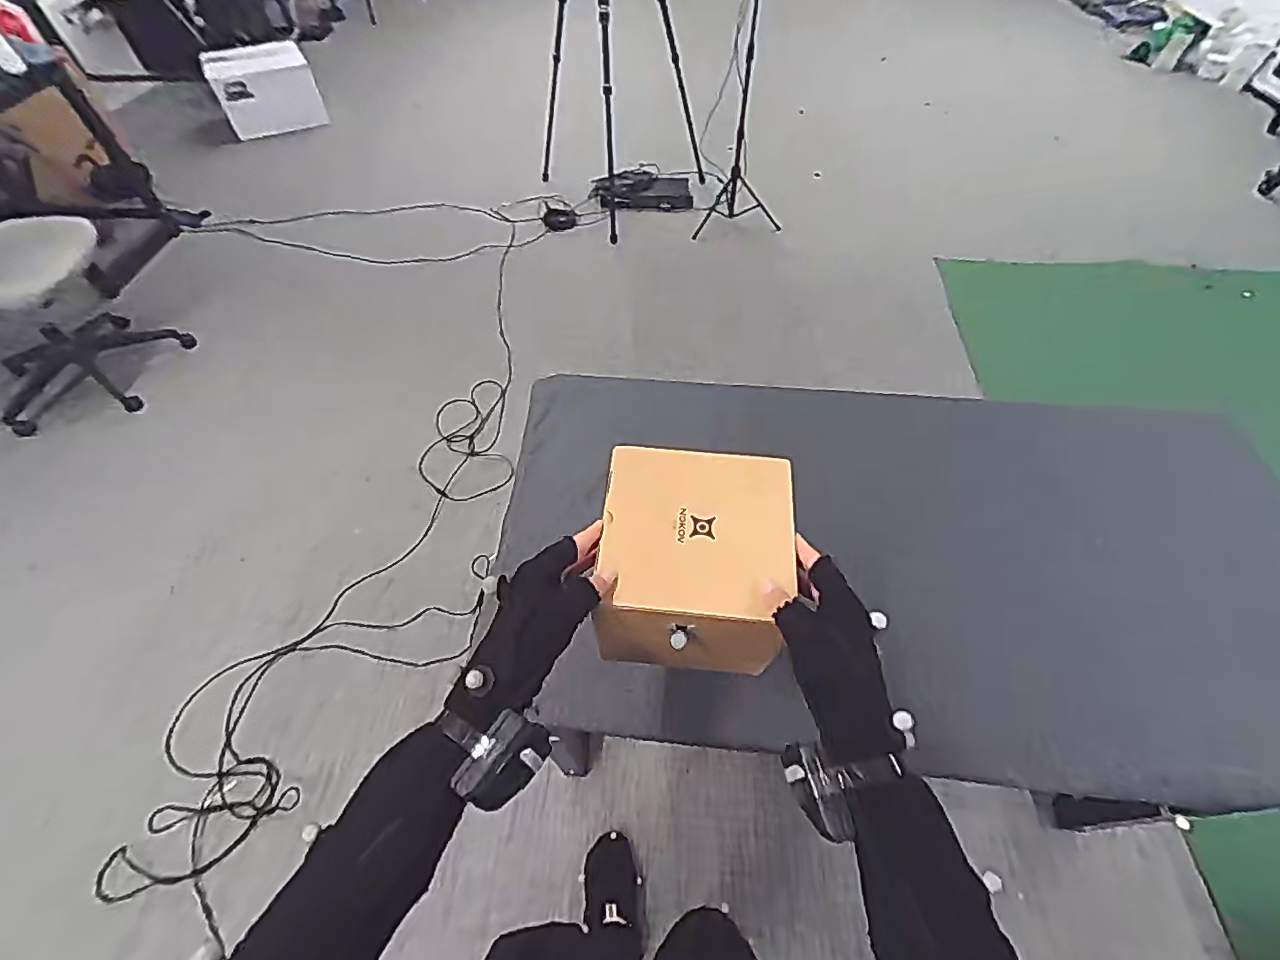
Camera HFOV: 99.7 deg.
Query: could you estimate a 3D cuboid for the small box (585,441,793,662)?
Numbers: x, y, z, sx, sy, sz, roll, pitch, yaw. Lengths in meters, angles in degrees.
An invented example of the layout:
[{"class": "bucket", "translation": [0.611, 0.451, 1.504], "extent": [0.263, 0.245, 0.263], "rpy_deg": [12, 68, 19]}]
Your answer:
[{"class": "small box", "translation": [0.049, 0.080, 0.556], "extent": [0.179, 0.176, 0.168], "rpy_deg": [4, 57, 4]}]
